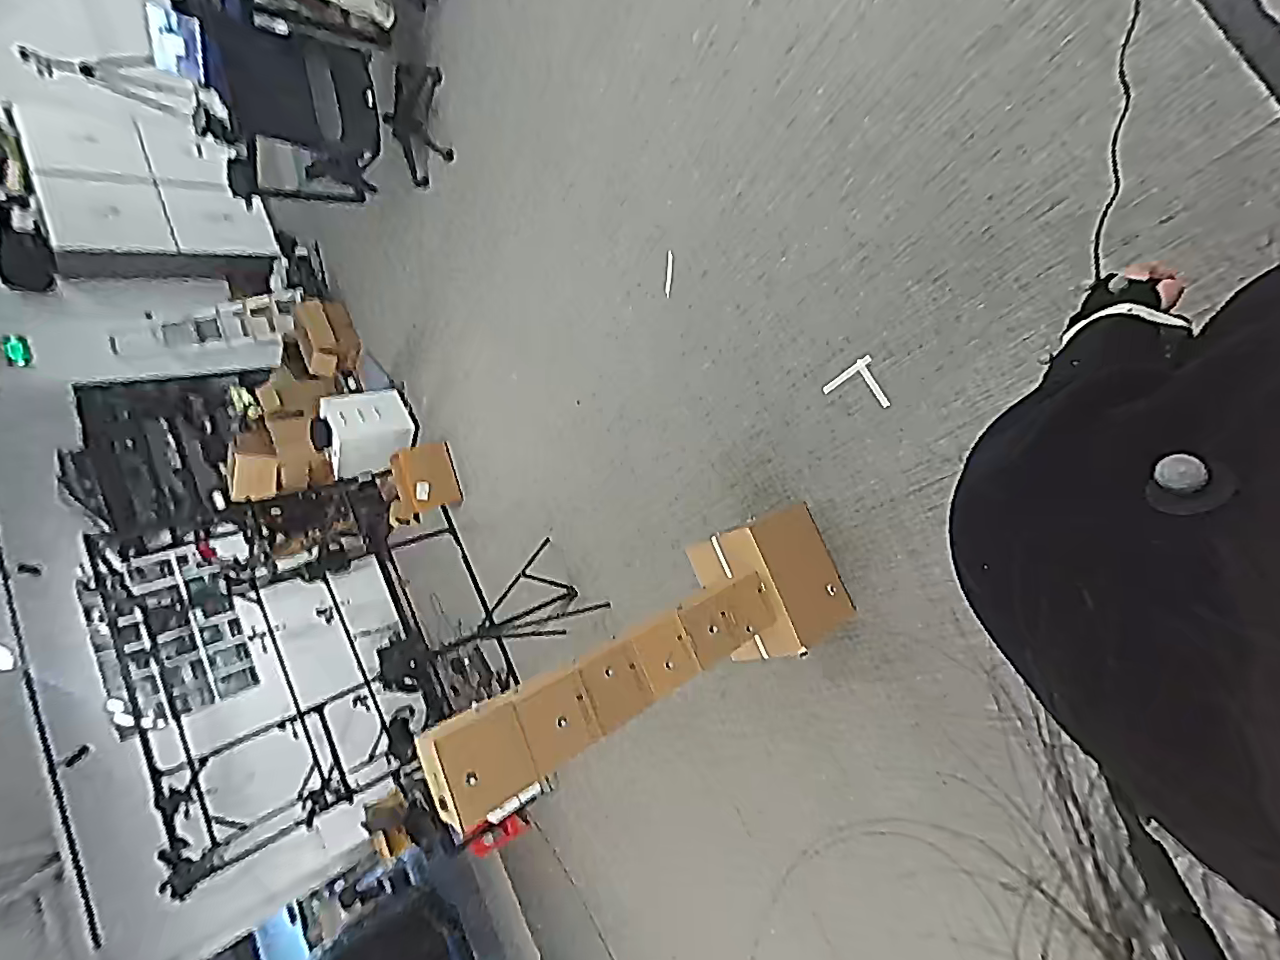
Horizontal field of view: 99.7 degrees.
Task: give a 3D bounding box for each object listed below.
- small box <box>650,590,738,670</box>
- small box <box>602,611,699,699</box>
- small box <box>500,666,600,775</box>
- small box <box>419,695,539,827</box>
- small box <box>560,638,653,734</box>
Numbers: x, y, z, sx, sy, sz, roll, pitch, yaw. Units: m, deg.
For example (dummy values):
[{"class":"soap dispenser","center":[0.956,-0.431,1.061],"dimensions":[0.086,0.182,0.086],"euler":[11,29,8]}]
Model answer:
[{"class":"small box","center":[0.154,0.425,1.533],"dimensions":[0.179,0.176,0.168],"euler":[-30,81,50]},{"class":"small box","center":[0.034,0.461,1.430],"dimensions":[0.179,0.176,0.168],"euler":[-34,78,51]},{"class":"small box","center":[-0.211,0.536,1.227],"dimensions":[0.179,0.176,0.168],"euler":[-31,79,52]},{"class":"small box","center":[-0.332,0.570,1.121],"dimensions":[0.168,0.176,0.179],"euler":[-31,79,51]},{"class":"small box","center":[-0.089,0.503,1.333],"dimensions":[0.179,0.176,0.168],"euler":[-35,76,52]}]
